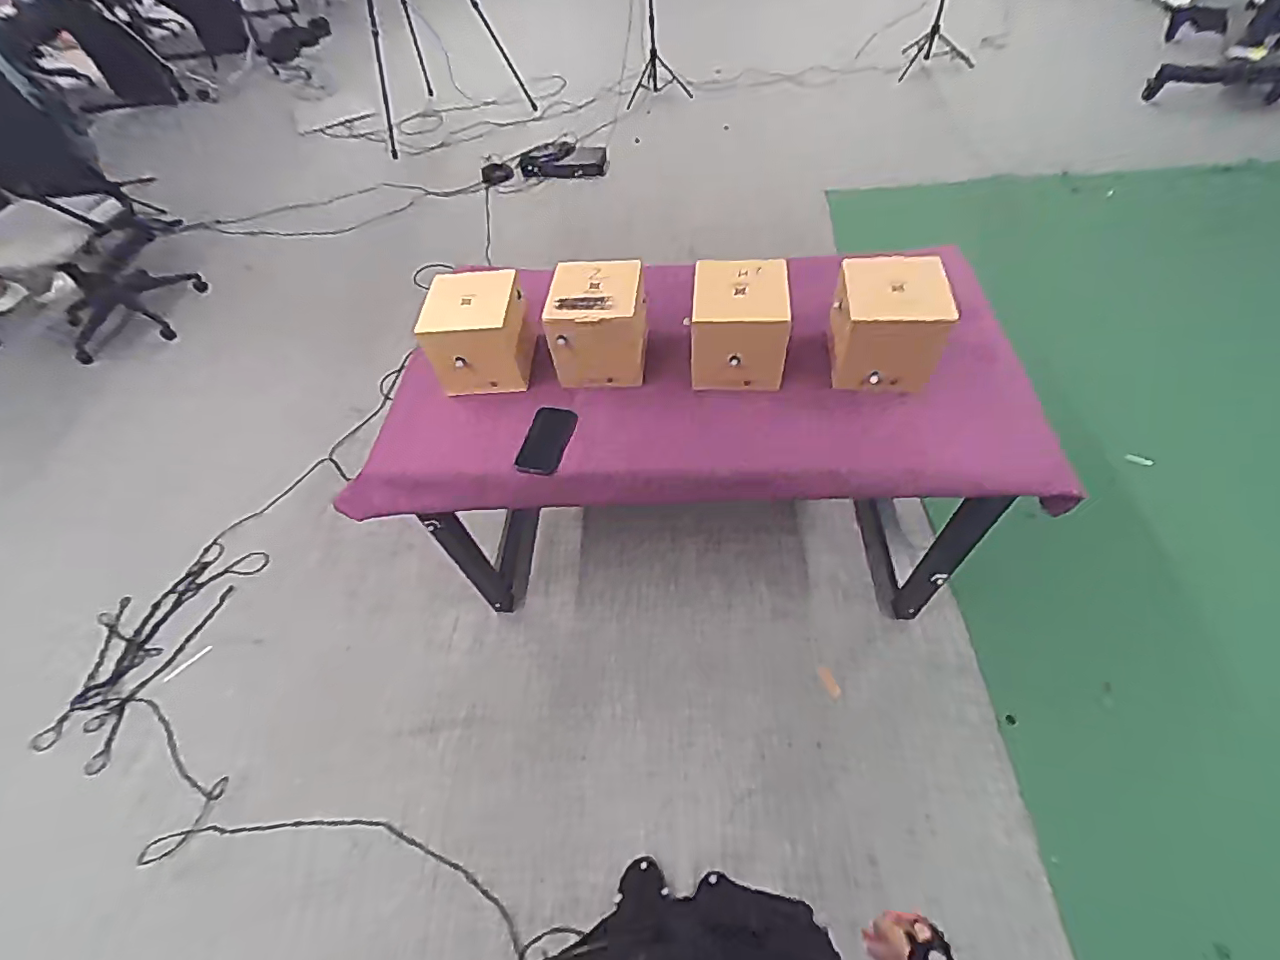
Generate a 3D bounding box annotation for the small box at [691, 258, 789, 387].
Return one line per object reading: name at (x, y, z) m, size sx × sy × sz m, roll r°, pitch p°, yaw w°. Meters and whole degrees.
small box at (0.185, -0.290, 1.014) m, size 0.168 × 0.176 × 0.179 m, roll 2°, pitch 55°, yaw 7°

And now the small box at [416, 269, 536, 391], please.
small box at (-0.313, -0.289, 1.072) m, size 0.168 × 0.176 × 0.179 m, roll -3°, pitch 54°, yaw 5°

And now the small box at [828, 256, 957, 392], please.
small box at (0.444, -0.282, 0.981) m, size 0.168 × 0.176 × 0.179 m, roll 3°, pitch 55°, yaw 10°
